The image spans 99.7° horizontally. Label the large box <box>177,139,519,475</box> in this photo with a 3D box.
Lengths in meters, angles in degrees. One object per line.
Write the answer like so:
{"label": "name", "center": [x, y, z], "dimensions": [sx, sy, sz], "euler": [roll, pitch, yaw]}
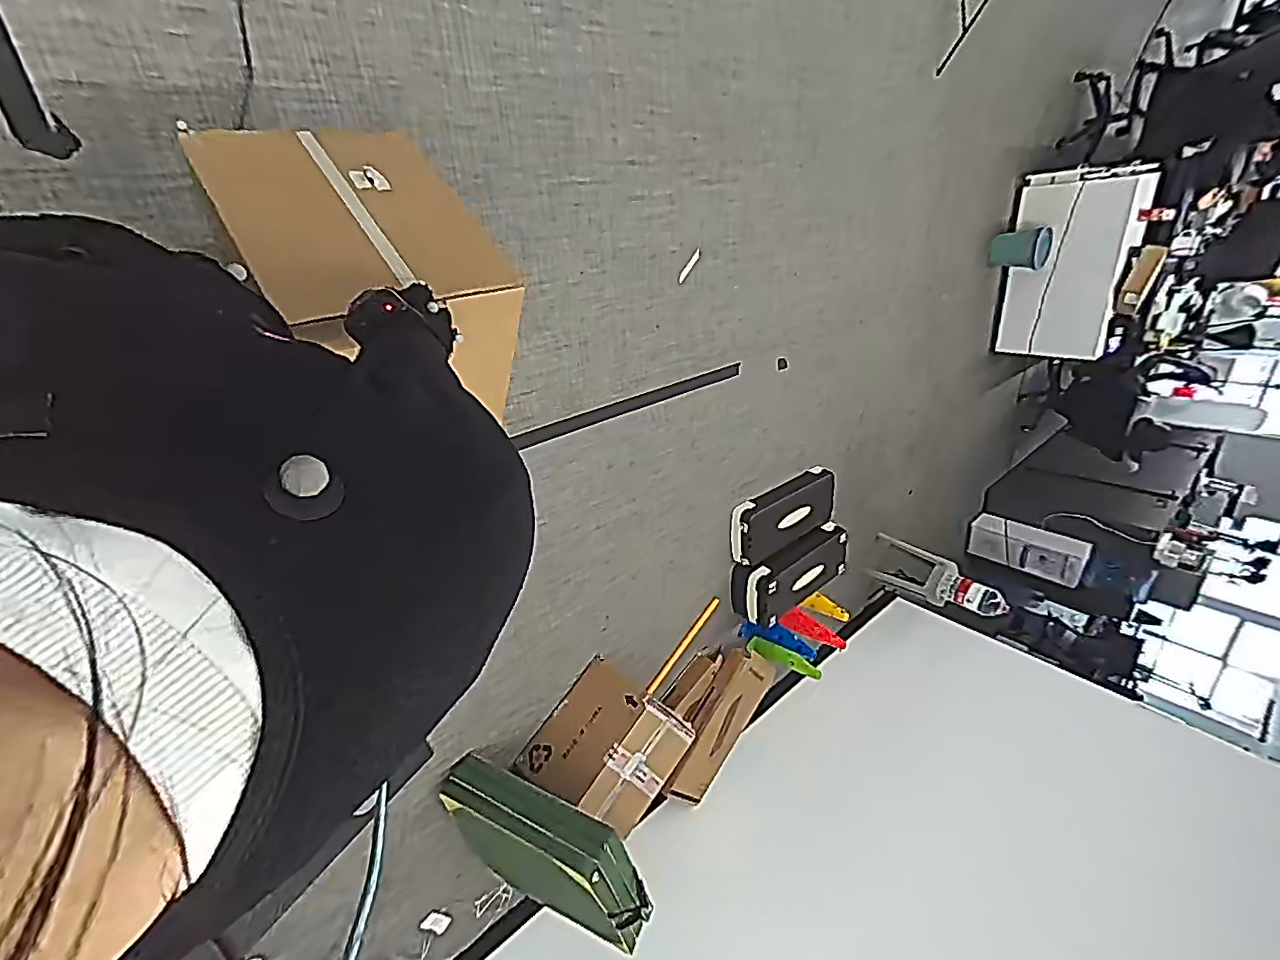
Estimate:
{"label": "large box", "center": [-0.448, -0.285, 0.879], "dimensions": [0.320, 0.408, 0.320], "euler": [-25, 157, -35]}
